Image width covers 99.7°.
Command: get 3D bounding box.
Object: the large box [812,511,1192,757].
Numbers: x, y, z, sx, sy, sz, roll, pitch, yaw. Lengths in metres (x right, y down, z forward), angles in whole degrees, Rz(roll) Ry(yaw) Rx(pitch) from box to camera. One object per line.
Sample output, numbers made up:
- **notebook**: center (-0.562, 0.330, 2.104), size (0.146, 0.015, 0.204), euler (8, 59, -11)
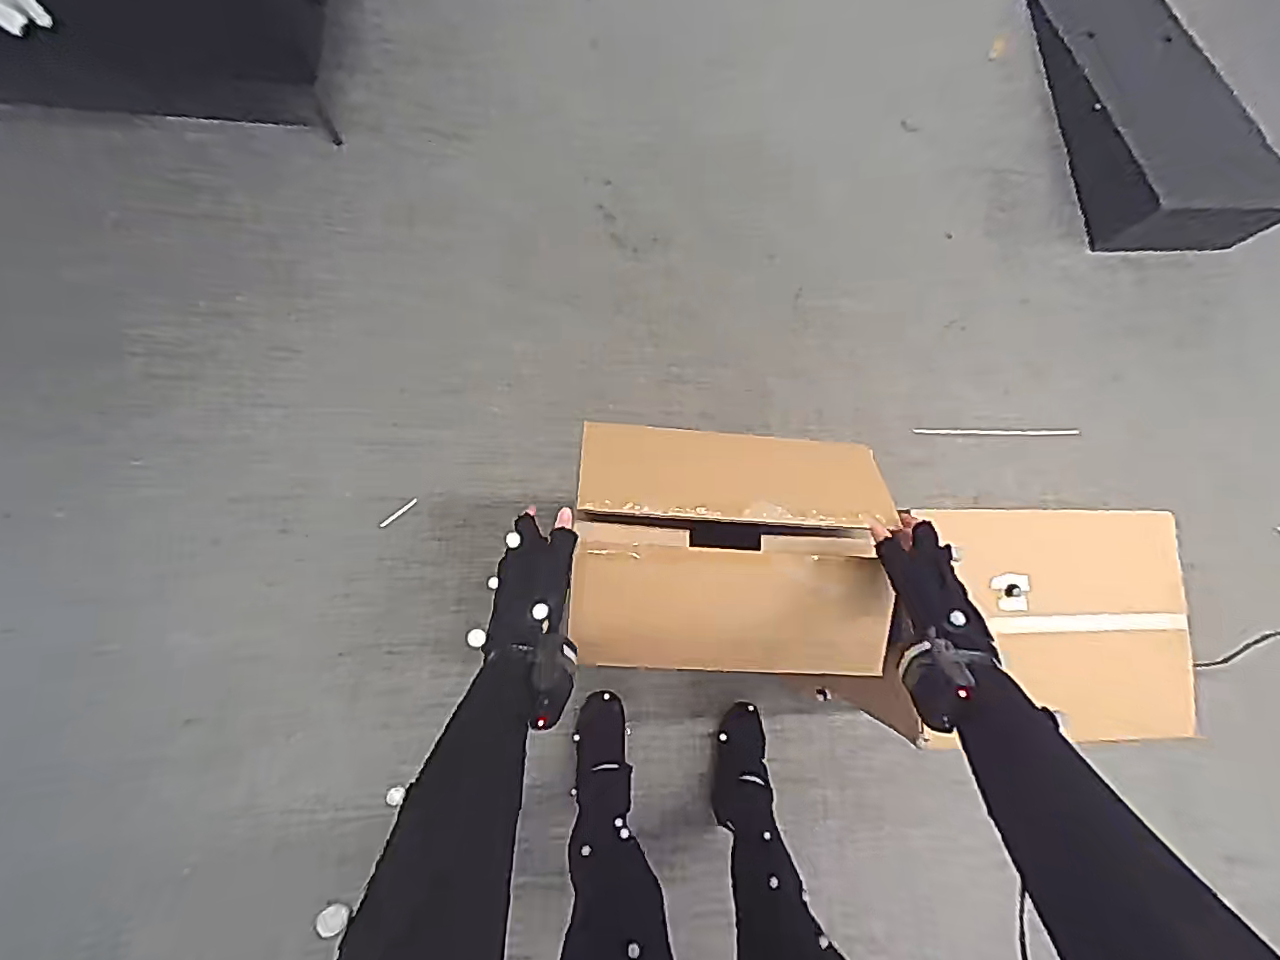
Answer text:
- **large box**: center (0.533, 0.215, 0.870), size (0.408, 0.320, 0.320), euler (0, 83, -5)
